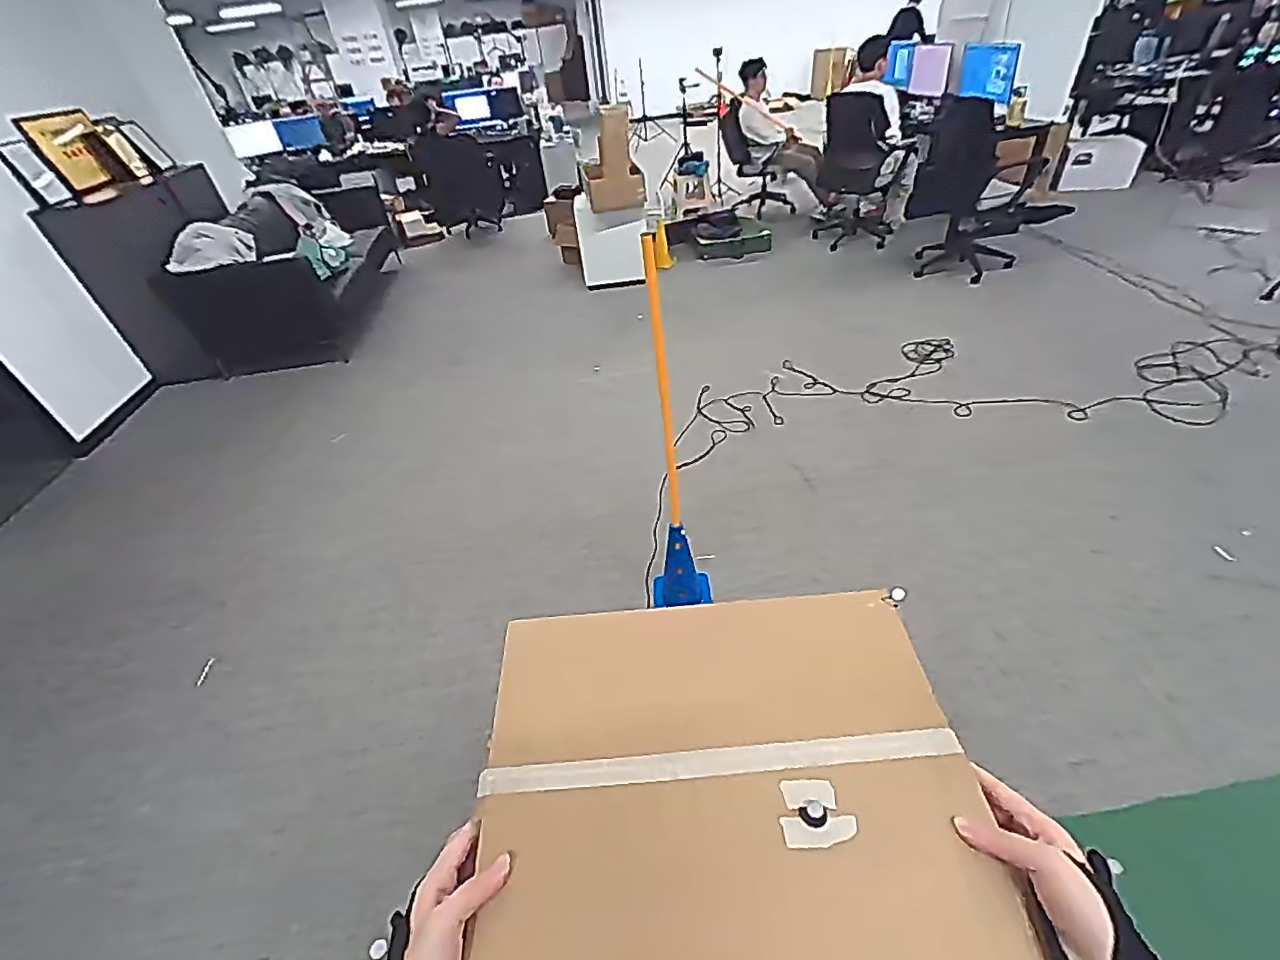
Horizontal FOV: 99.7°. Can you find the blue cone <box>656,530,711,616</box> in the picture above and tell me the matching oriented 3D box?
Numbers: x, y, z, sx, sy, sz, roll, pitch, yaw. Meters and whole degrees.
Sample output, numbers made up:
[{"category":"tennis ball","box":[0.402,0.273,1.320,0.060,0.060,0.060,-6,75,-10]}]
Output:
[{"category":"blue cone","box":[0.134,0.301,1.781,0.193,0.380,0.192,-4,40,5]}]

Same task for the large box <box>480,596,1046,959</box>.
[{"category":"large box","box":[0.079,0.354,0.574,0.408,0.320,0.320,-4,44,-1]}]
